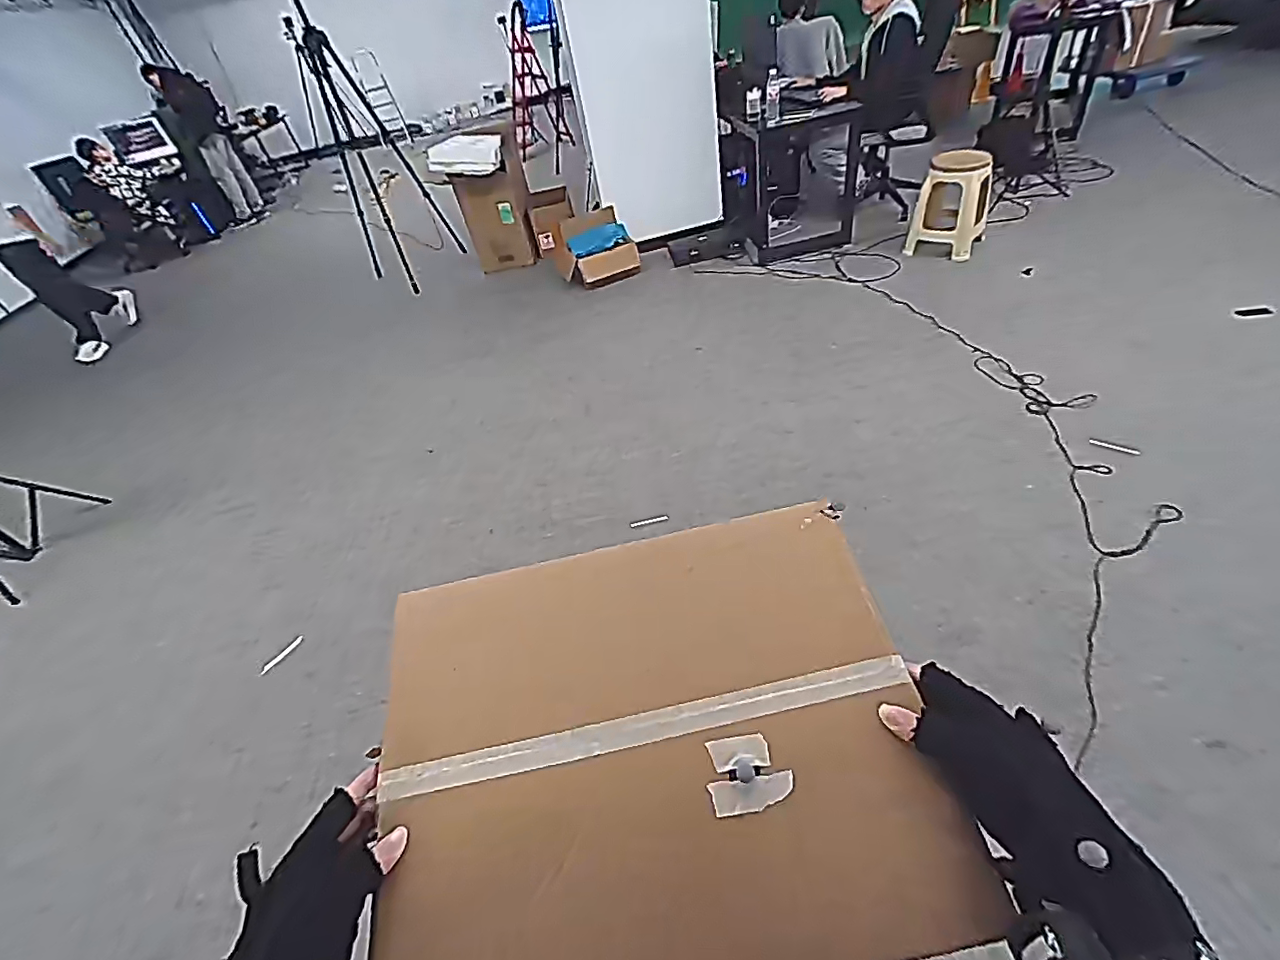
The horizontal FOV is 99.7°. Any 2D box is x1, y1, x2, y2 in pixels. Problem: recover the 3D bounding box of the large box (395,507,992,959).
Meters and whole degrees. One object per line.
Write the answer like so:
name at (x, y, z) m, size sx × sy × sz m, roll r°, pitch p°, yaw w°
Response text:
large box at (0.024, 0.275, 0.549) m, size 0.408 × 0.320 × 0.320 m, roll -13°, pitch 56°, yaw 0°
